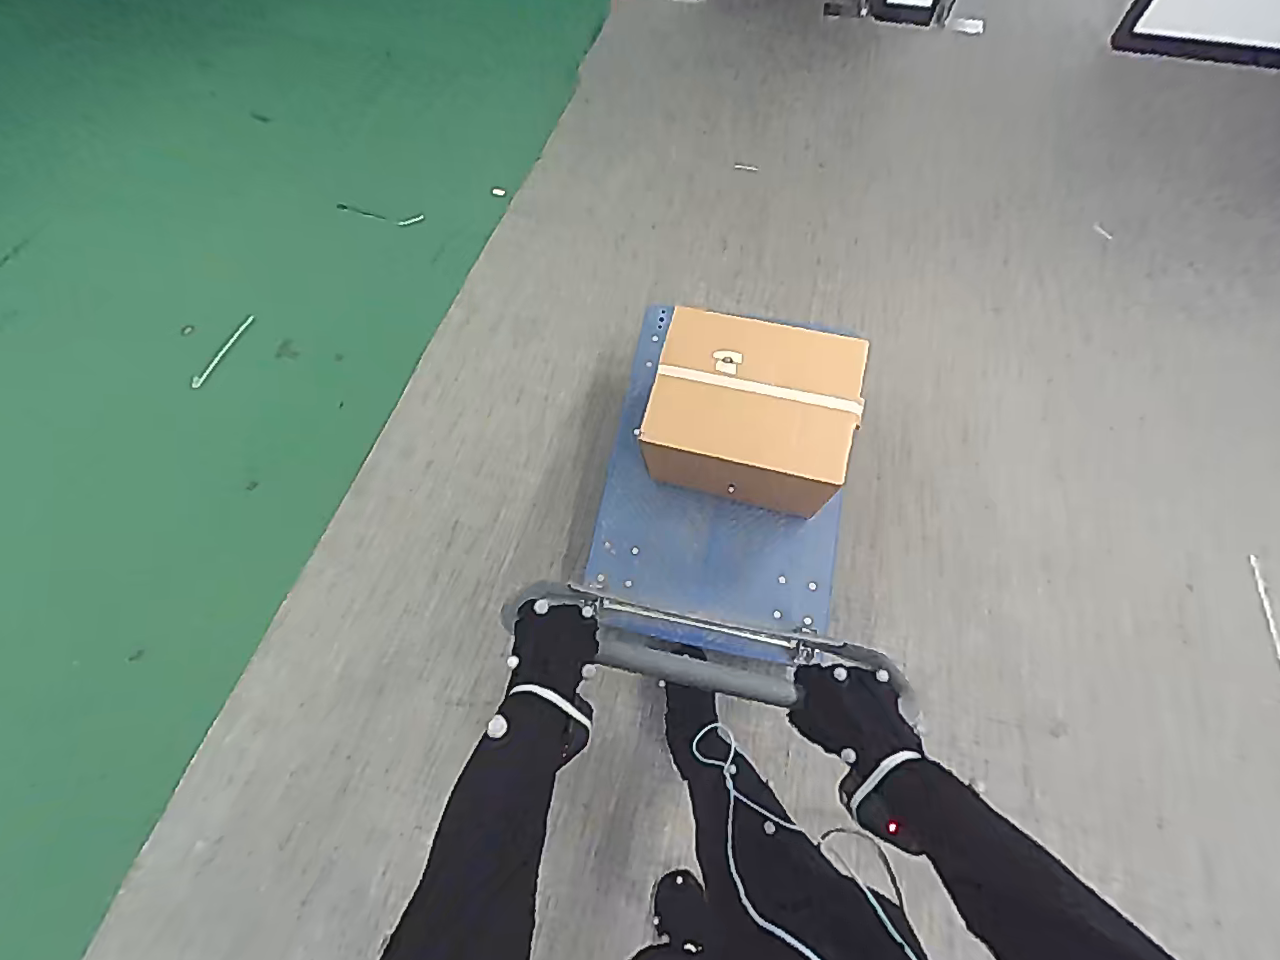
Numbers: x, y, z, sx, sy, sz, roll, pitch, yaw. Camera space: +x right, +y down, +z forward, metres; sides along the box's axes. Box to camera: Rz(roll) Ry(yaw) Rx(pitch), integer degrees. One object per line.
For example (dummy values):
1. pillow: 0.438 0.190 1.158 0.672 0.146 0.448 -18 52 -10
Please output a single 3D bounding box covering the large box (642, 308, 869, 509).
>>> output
1. large box: 0.250 -0.143 1.215 0.408 0.320 0.320 13 77 11
